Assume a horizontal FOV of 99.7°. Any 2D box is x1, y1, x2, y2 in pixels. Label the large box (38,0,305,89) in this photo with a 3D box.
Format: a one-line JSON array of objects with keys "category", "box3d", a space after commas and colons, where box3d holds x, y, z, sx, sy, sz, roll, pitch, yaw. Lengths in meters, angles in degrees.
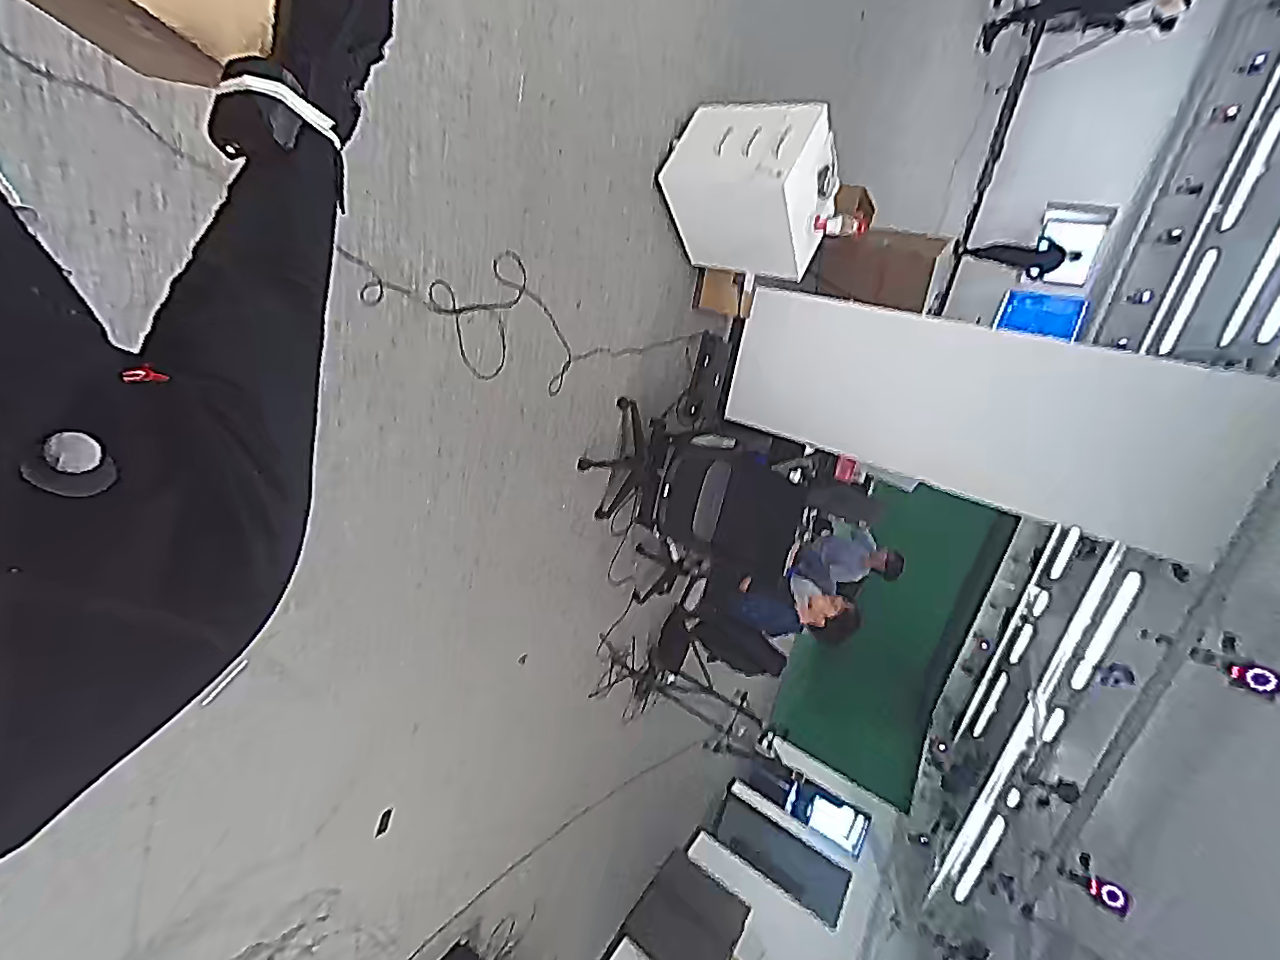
[{"category": "large box", "box3d": [-0.460, -0.558, 0.347, 0.320, 0.320, 0.408, -63, 153, 4]}]
